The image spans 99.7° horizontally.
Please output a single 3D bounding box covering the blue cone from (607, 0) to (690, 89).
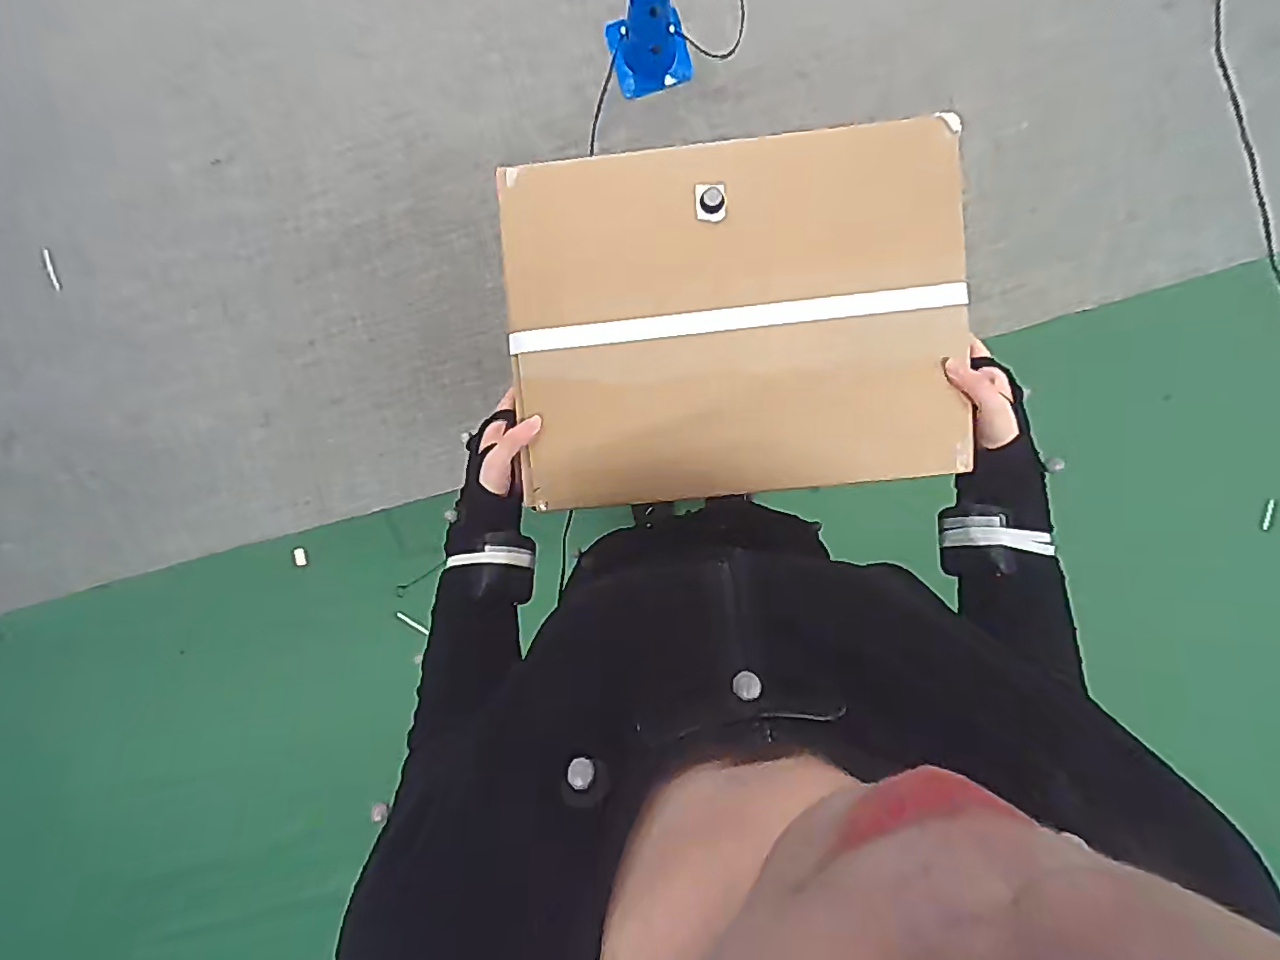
[{"bbox_3d":[0.019,-1.127,1.250,0.193,0.380,0.192,-19,93,3],"label":"blue cone"}]
